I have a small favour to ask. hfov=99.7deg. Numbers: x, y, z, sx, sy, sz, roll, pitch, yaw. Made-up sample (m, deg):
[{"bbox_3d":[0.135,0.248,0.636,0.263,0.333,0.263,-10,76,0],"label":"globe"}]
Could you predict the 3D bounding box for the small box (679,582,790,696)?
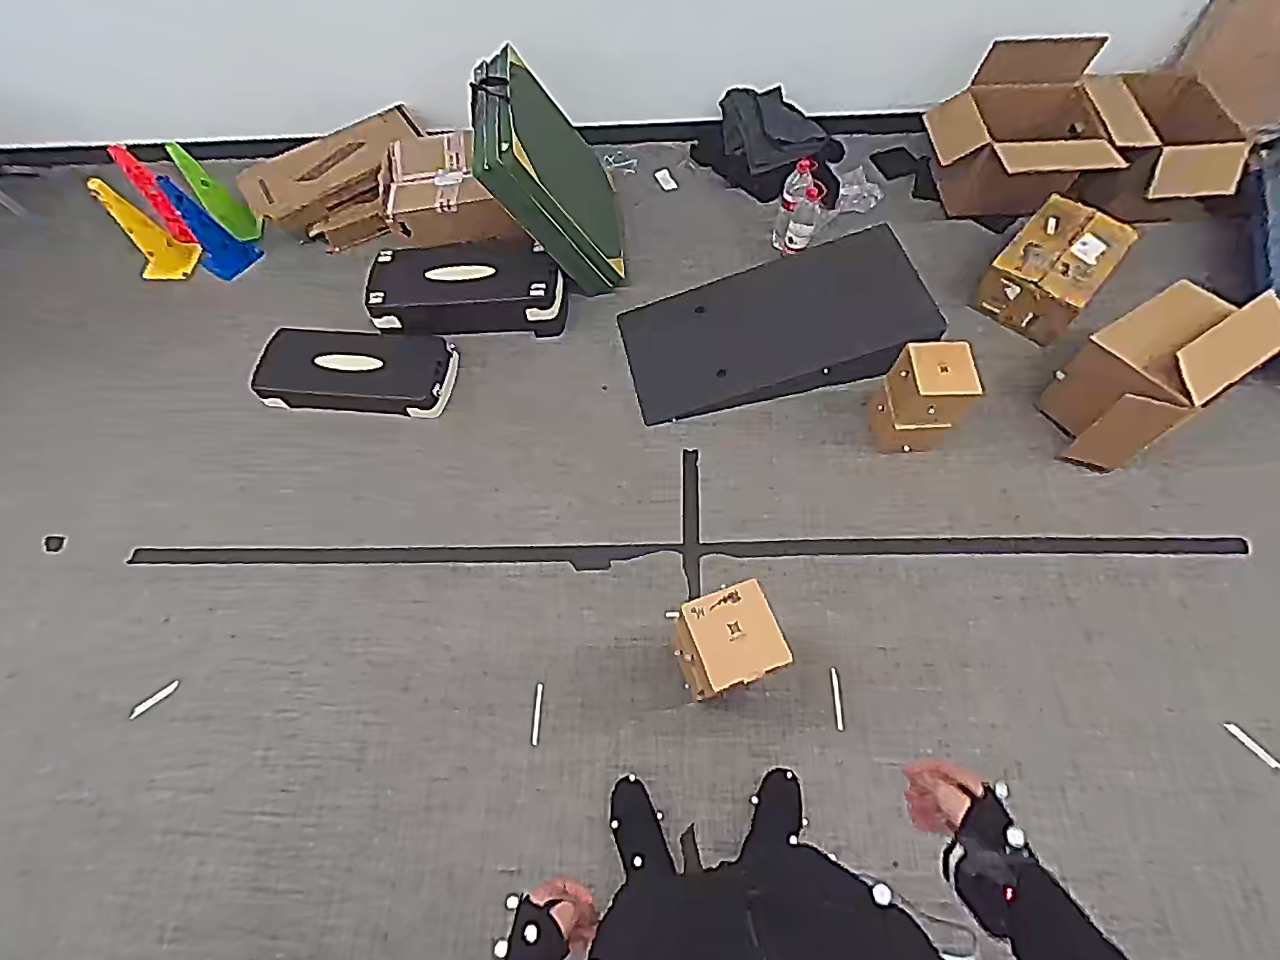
[{"bbox_3d":[0.187,0.335,1.122,0.168,0.176,0.179,-19,66,-7],"label":"small box"}]
